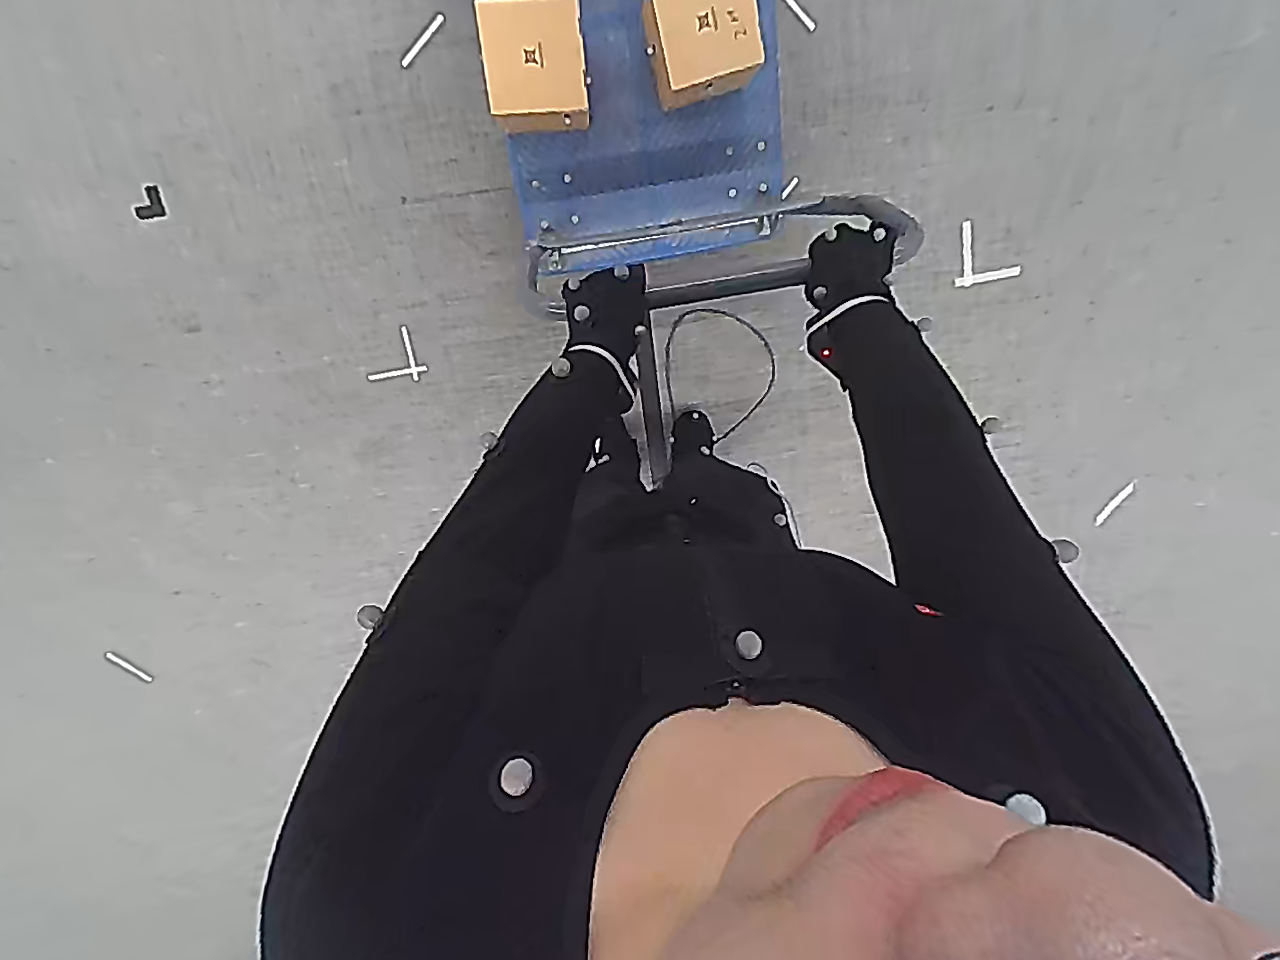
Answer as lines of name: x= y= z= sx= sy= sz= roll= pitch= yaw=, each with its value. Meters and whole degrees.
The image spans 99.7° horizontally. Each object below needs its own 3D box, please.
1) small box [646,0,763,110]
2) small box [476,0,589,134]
small box: x=0.112 y=-0.819 z=1.005 sx=0.179 sy=0.176 sz=0.168 roll=-15 pitch=113 yaw=3
small box: x=-0.191 y=-0.762 z=1.009 sx=0.179 sy=0.176 sz=0.168 roll=-6 pitch=113 yaw=-3
